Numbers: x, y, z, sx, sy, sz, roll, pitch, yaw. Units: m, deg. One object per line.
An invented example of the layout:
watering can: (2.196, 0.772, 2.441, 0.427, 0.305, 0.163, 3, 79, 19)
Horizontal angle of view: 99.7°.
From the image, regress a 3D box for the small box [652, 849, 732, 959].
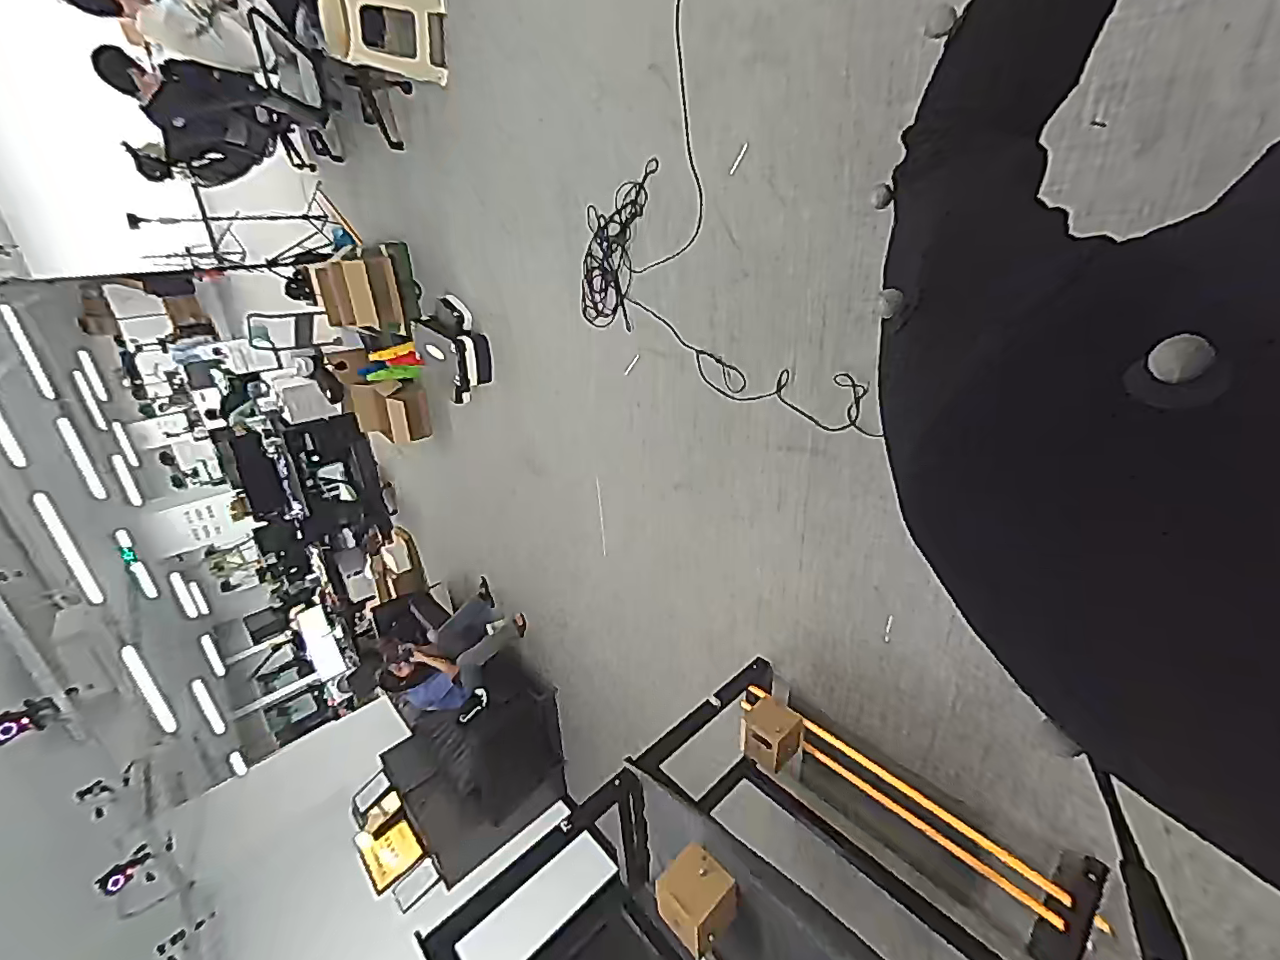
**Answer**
small box: (0.153, 1.233, 1.563, 0.168, 0.176, 0.179, 20, 123, 43)
